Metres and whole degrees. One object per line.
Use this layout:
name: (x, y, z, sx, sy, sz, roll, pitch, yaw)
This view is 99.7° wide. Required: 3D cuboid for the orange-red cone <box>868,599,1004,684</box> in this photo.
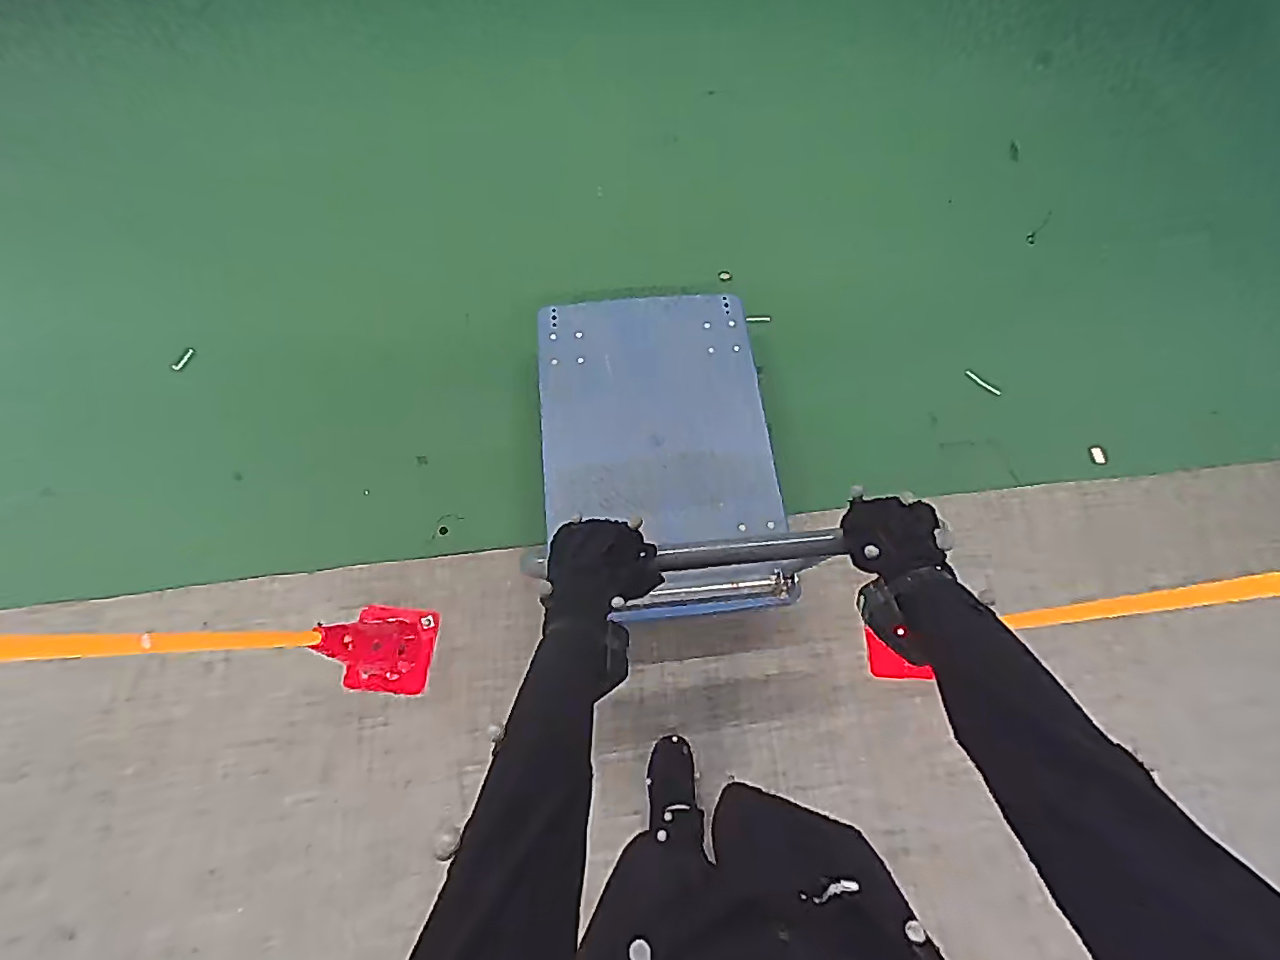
orange-red cone: (0.686, 0.349, 1.212, 0.198, 0.360, 0.199, 4, 70, 0)
